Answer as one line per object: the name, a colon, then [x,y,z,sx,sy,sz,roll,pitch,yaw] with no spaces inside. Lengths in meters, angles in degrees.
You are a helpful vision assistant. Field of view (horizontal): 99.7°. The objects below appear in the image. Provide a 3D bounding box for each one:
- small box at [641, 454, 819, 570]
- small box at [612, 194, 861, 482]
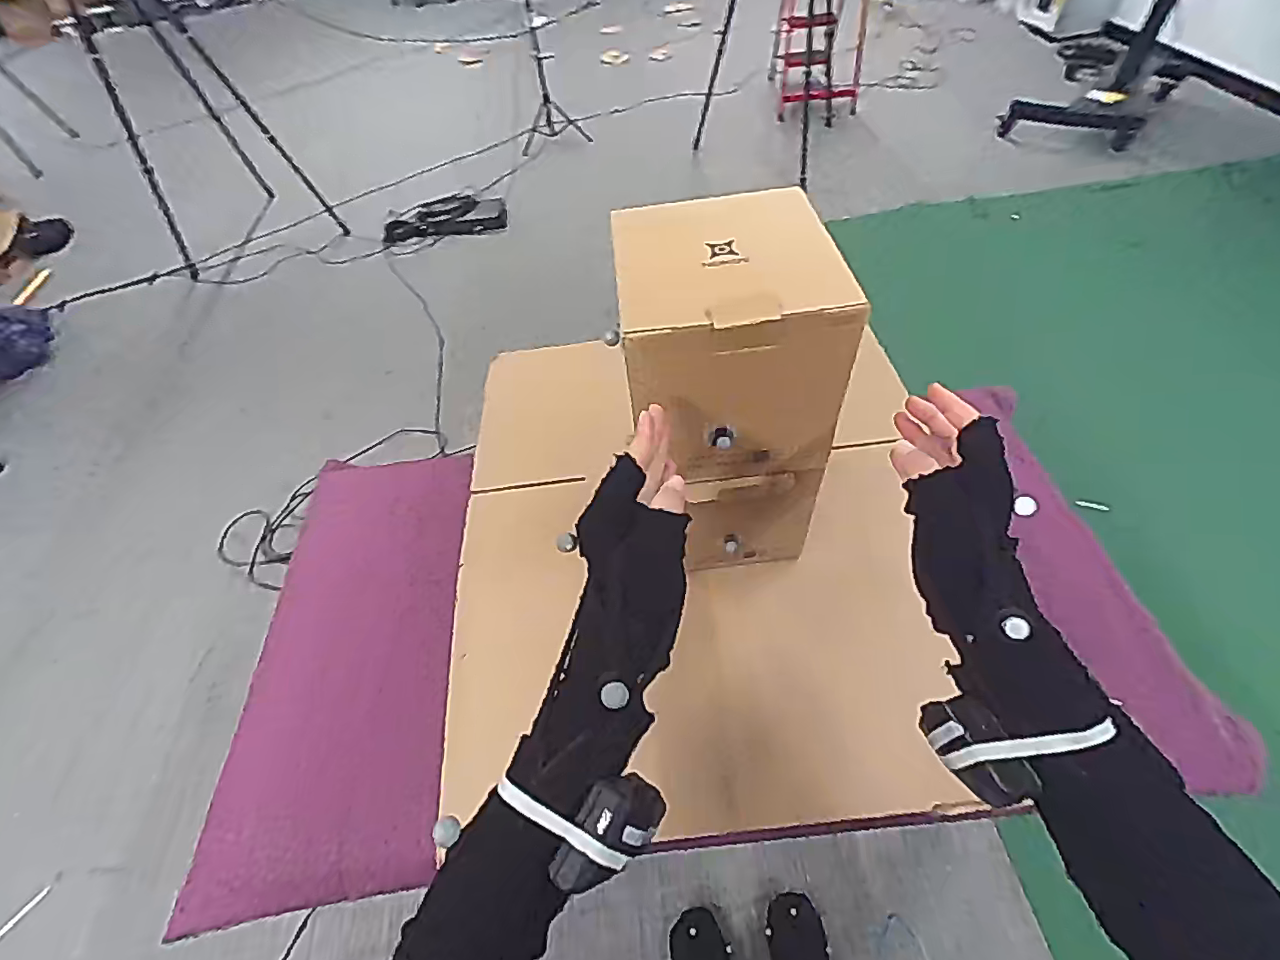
small box: [0.084,-0.022,0.606,0.168,0.176,0.179,-8,52,2]
small box: [0.068,-0.121,0.478,0.168,0.176,0.179,-7,52,1]
